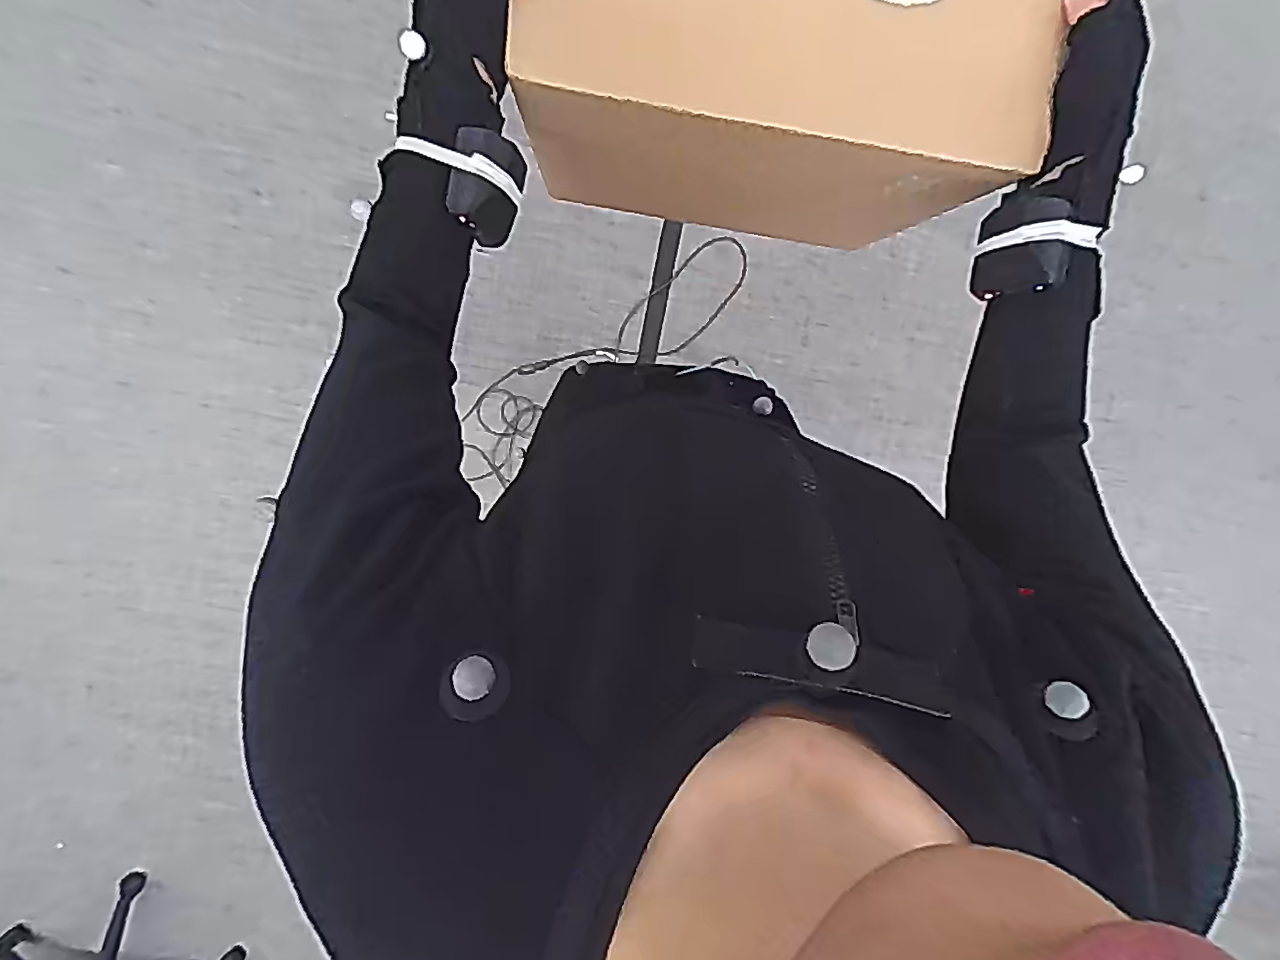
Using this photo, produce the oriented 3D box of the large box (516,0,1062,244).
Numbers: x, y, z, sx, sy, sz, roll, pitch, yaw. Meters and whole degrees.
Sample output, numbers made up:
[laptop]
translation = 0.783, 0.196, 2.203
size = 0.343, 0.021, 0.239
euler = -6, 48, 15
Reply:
[large box]
translation = 0.110, -0.446, 0.522
size = 0.408, 0.320, 0.320
euler = 7, 103, -6
